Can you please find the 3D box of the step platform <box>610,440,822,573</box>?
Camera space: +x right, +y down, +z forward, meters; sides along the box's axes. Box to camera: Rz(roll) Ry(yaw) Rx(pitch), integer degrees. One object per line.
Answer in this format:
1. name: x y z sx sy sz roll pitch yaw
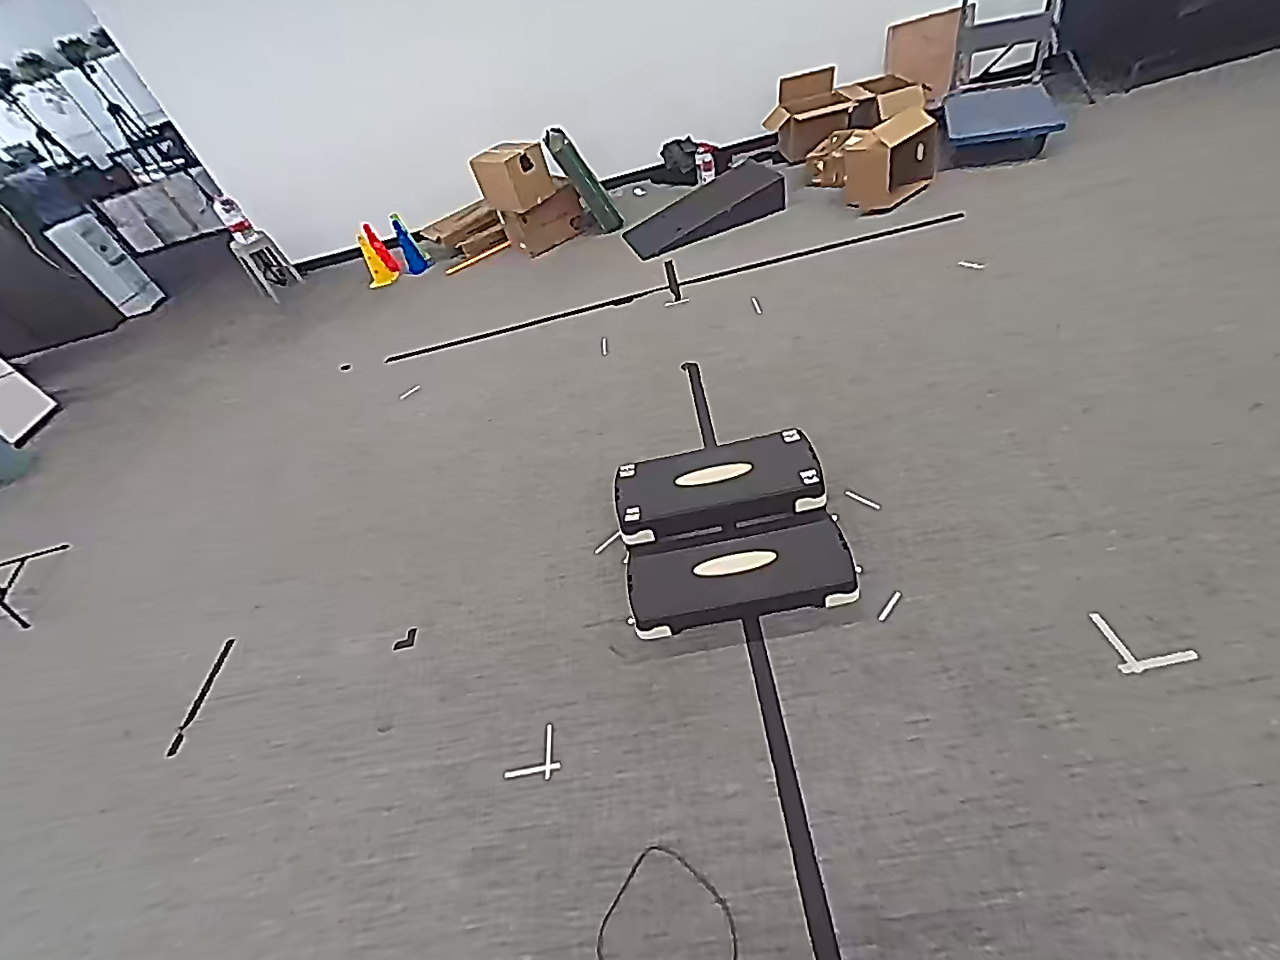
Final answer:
1. step platform: 0.241 0.084 1.806 0.684 0.204 0.286 -12 45 4
